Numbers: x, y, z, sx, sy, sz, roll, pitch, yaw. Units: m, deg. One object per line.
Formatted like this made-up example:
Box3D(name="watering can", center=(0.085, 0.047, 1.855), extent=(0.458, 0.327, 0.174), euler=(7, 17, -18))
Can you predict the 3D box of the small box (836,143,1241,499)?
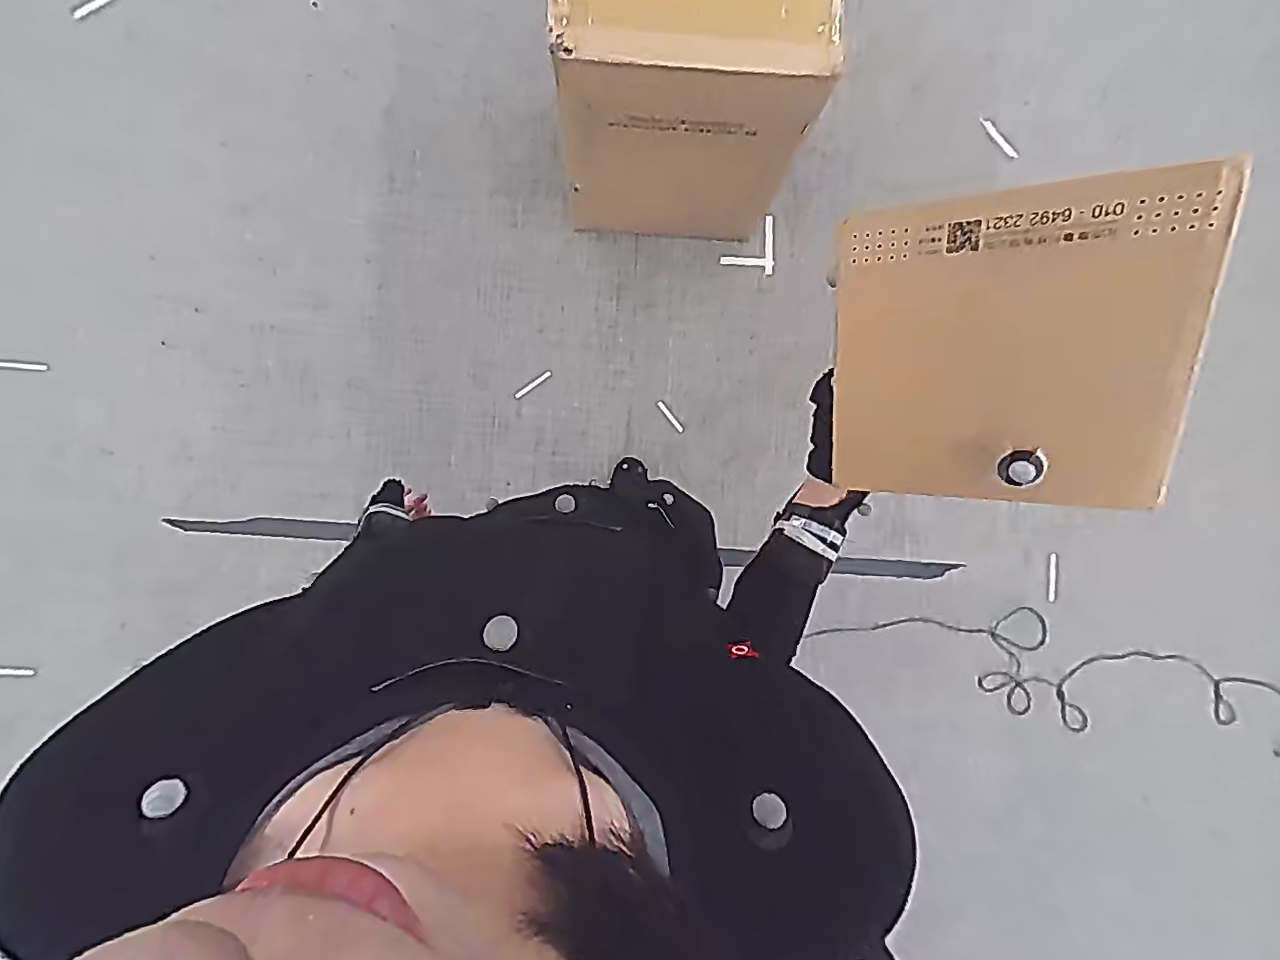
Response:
Box3D(name="small box", center=(0.226, -0.104, 0.352), extent=(0.168, 0.179, 0.176), euler=(4, 114, 26))
